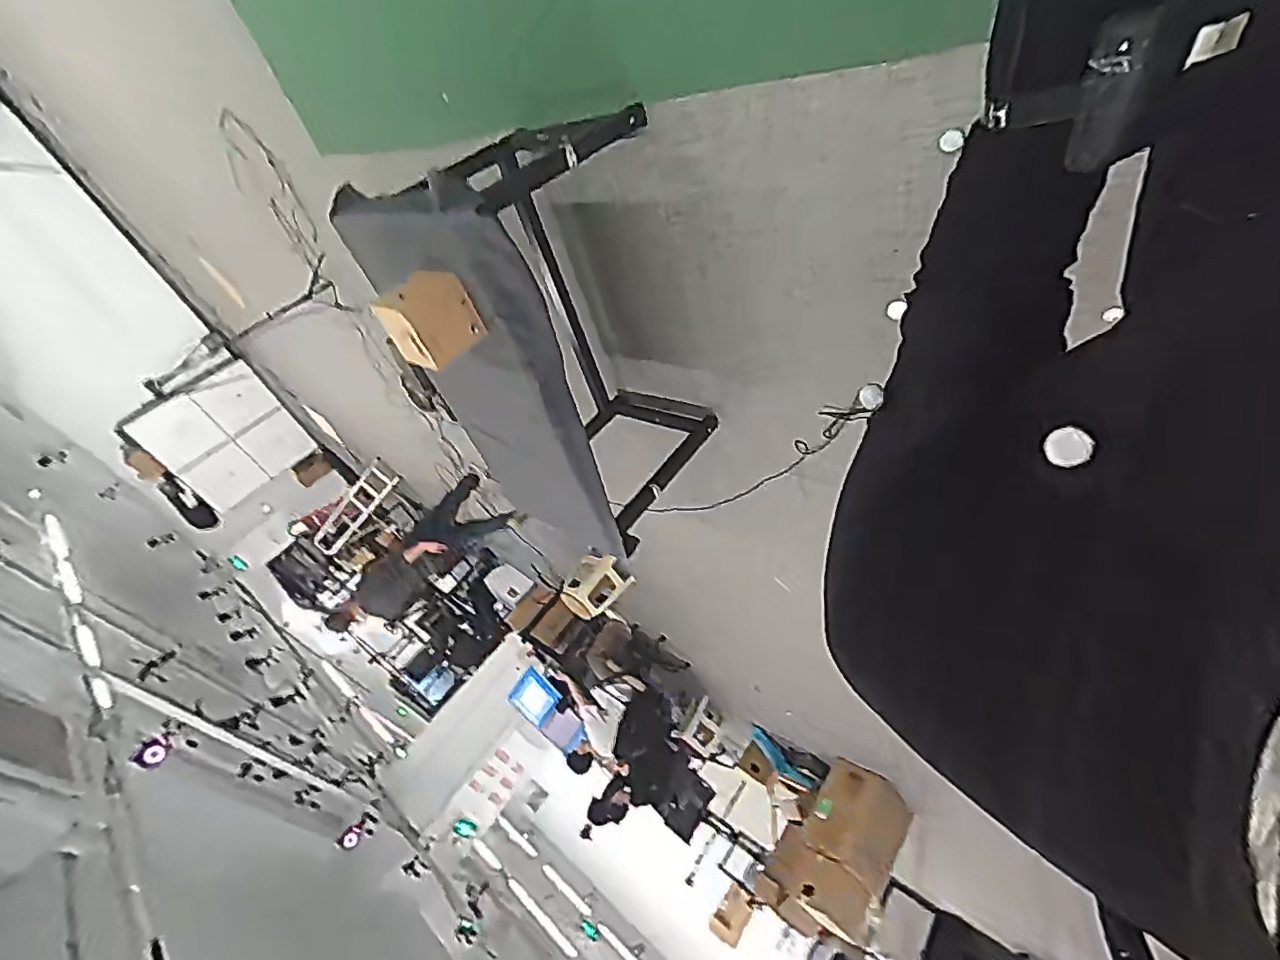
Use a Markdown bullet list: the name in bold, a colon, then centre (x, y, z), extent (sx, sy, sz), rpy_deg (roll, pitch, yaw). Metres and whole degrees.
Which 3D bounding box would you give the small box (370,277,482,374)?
- **small box**: centre (-0.524, -0.391, 1.352), extent (0.179, 0.176, 0.168), rpy_deg (22, 147, 37)
